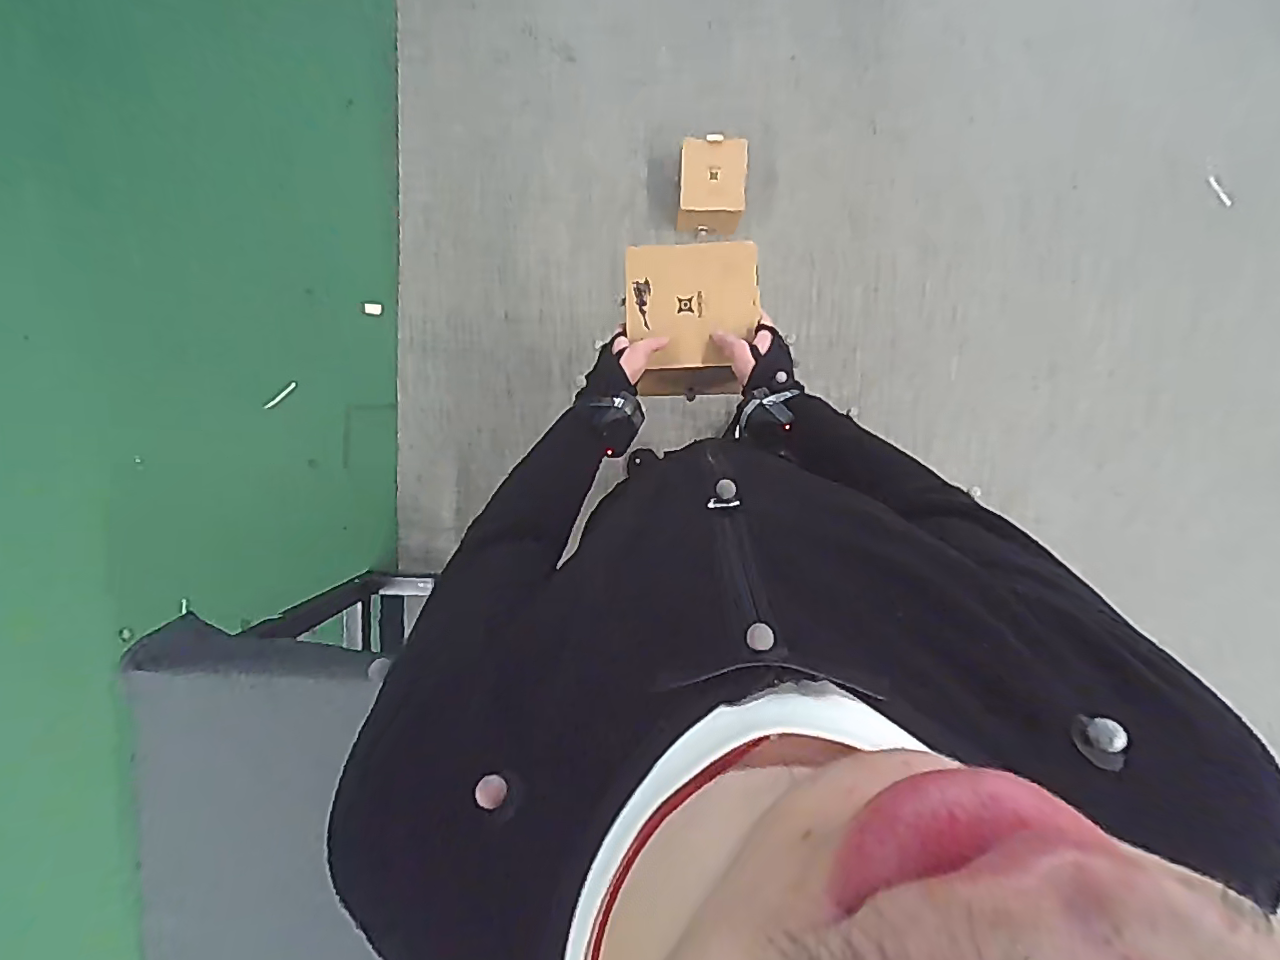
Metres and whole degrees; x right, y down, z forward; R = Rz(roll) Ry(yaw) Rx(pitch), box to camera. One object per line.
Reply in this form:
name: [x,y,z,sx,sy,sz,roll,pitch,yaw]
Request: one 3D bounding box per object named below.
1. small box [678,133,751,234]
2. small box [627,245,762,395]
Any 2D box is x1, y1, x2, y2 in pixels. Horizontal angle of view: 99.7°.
small box: [0.189,-0.770,1.416,0.168,0.176,0.179,4,94,2]
small box: [0.072,-0.222,0.786,0.179,0.176,0.168,-1,87,2]
